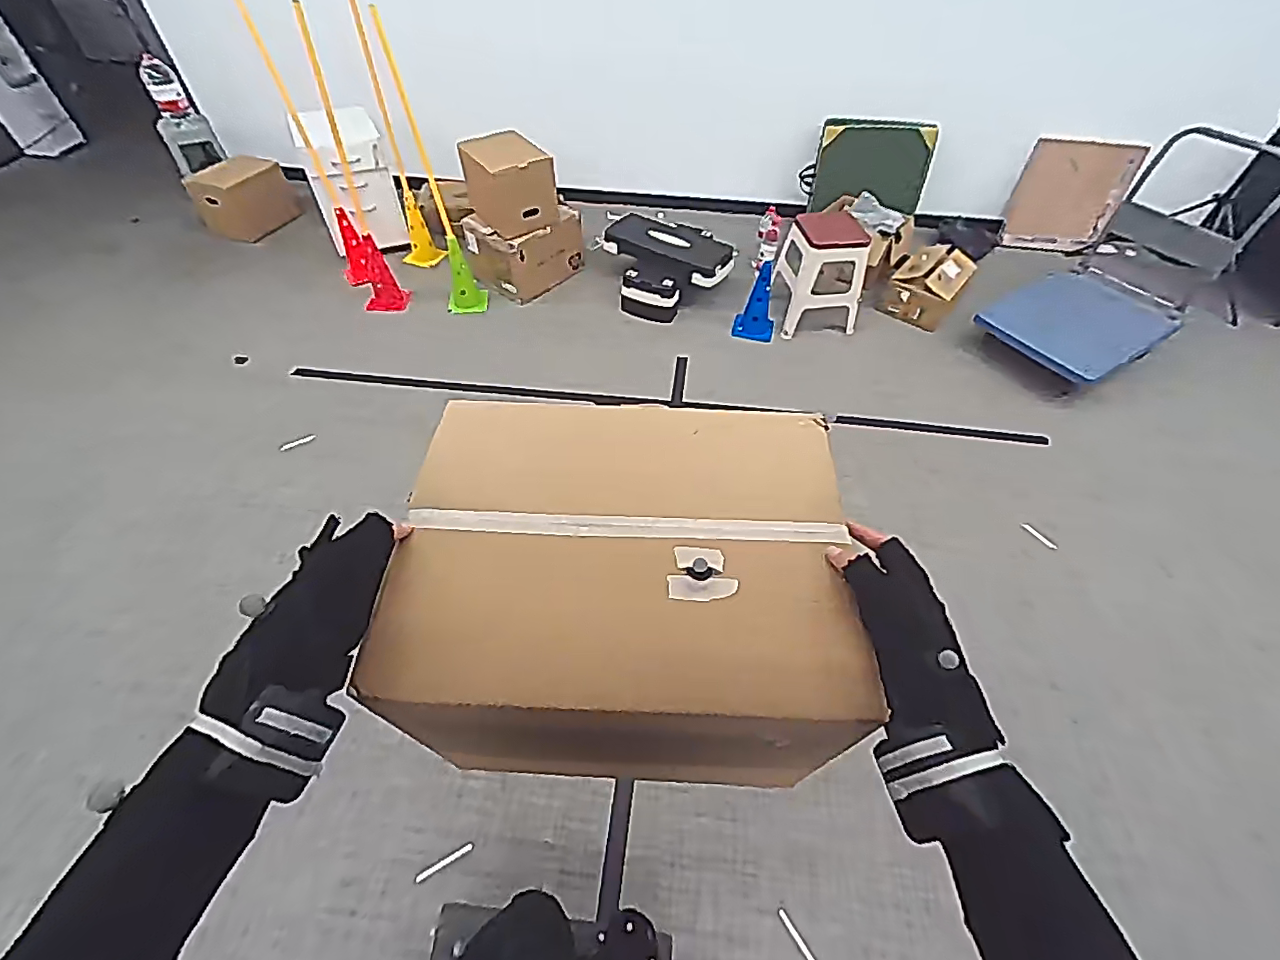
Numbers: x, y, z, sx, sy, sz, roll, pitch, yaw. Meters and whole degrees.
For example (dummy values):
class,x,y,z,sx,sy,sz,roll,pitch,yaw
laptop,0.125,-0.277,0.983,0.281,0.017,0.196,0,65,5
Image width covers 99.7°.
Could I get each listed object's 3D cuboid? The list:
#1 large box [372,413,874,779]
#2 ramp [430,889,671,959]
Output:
class,x,y,z,sx,sy,sz,roll,pitch,yaw
large box,-0.012,0.143,0.628,0.408,0.320,0.320,3,53,1
ramp,-0.231,1.336,0.913,0.509,0.206,0.991,6,51,1
